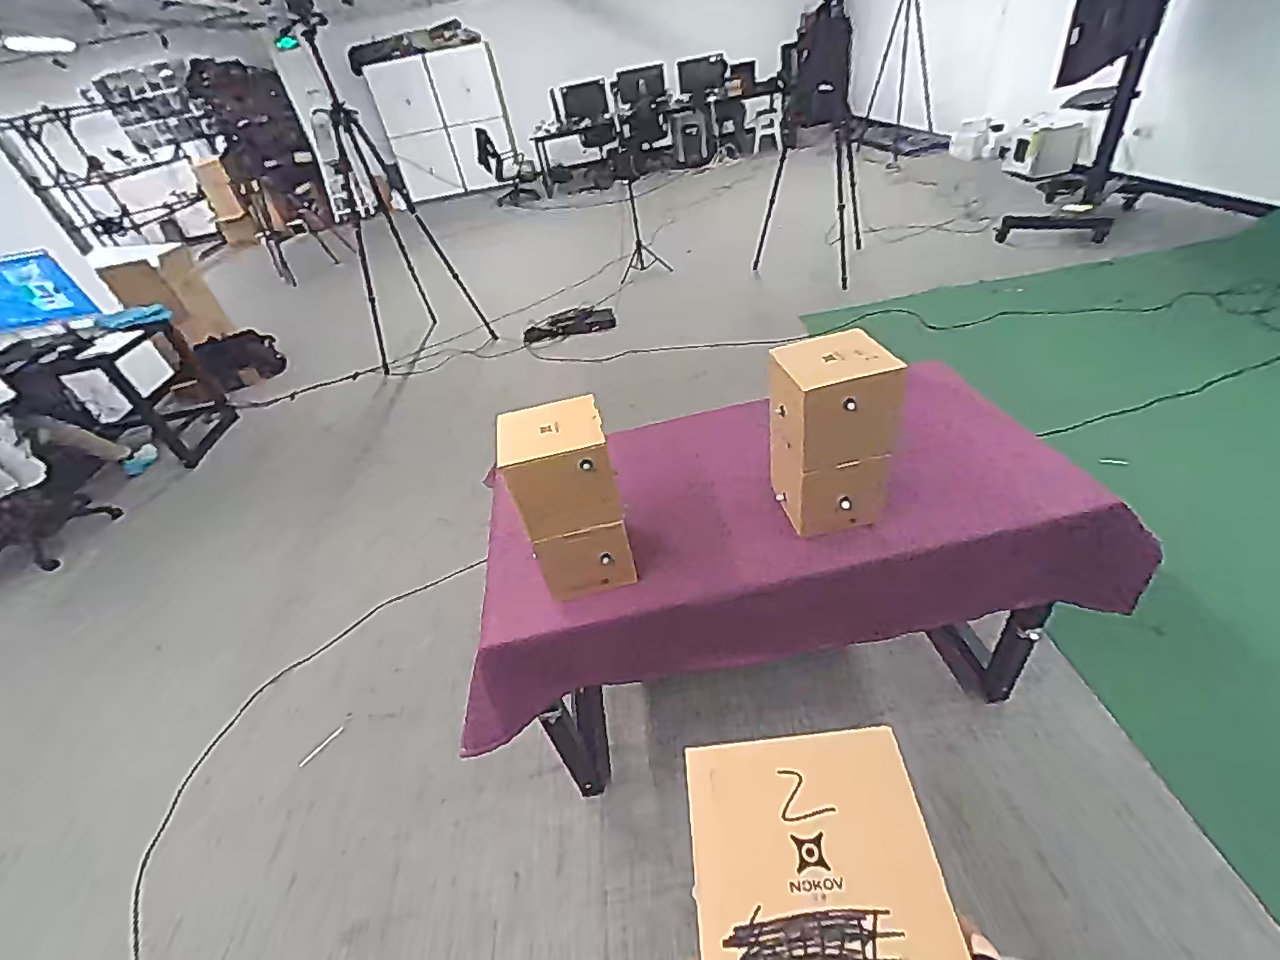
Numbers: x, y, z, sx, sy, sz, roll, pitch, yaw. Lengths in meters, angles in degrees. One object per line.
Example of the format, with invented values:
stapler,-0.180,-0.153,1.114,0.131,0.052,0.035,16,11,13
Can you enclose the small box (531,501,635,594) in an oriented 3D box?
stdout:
small box,-0.111,0.103,1.051,0.168,0.176,0.179,-12,38,-3

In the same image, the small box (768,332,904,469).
small box,0.341,-0.140,0.969,0.179,0.176,0.168,-13,39,-1

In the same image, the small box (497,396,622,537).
small box,-0.140,-0.022,0.950,0.179,0.176,0.168,-13,39,-5

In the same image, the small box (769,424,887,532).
small box,0.364,-0.013,1.073,0.168,0.176,0.179,-12,39,-1
